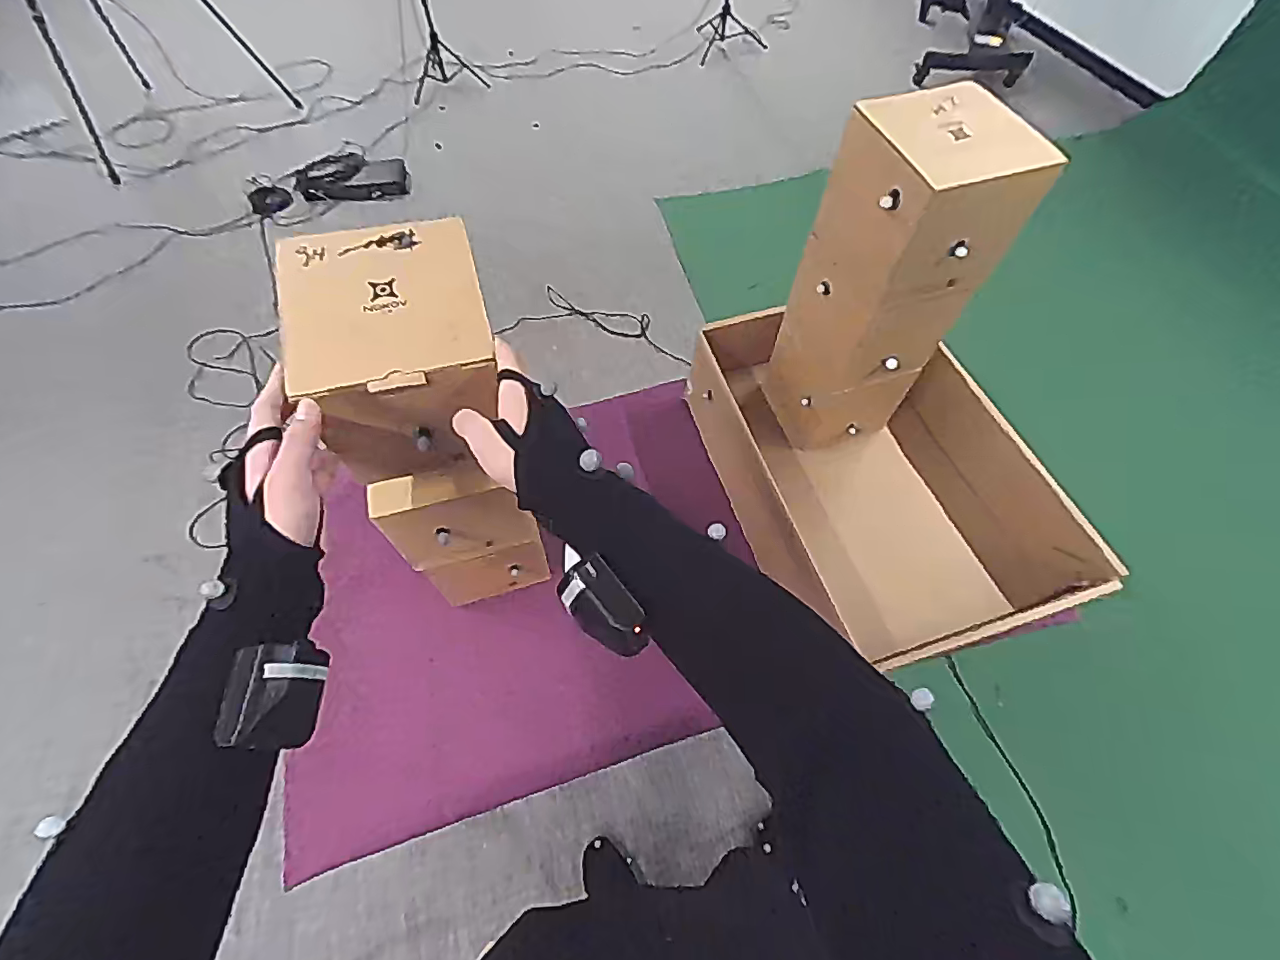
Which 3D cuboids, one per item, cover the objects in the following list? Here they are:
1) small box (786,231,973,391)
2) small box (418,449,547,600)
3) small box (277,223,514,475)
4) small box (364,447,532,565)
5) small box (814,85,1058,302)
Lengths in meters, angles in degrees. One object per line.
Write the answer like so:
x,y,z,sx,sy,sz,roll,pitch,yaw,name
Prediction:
0.342,-0.266,0.818,0.168,0.176,0.179,-16,63,-8,small box
-0.252,0.077,0.864,0.168,0.176,0.179,-14,60,-10,small box
-0.228,-0.118,0.539,0.168,0.176,0.179,-14,69,-13,small box
-0.250,-0.002,0.722,0.168,0.176,0.179,-15,60,-10,small box
0.344,-0.343,0.671,0.168,0.176,0.179,-16,62,-9,small box
